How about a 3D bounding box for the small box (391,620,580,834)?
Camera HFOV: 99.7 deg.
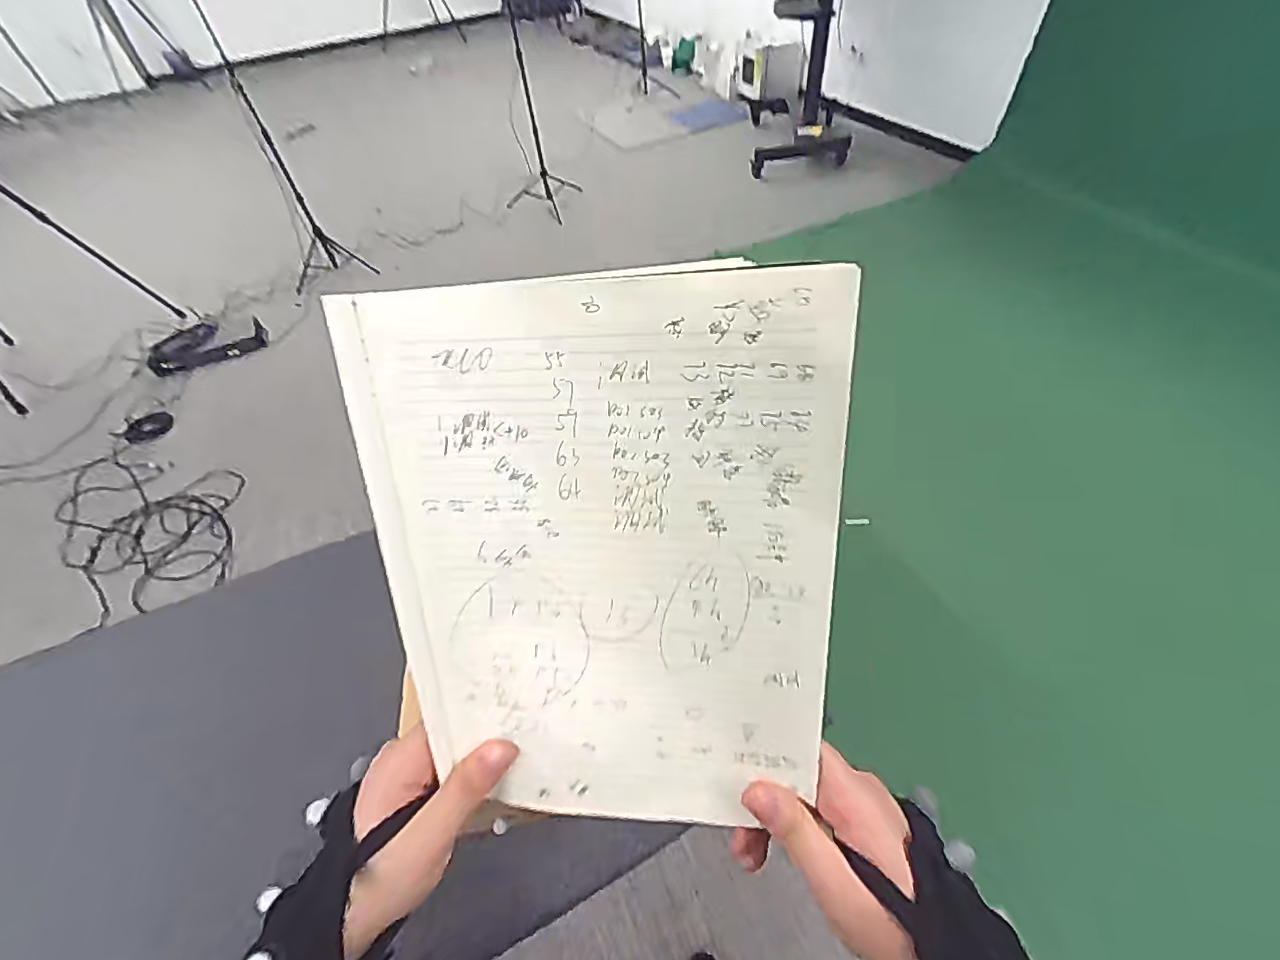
[{"bbox_3d":[-0.172,0.297,0.648,0.168,0.176,0.179,-11,49,-3],"label":"small box"}]
